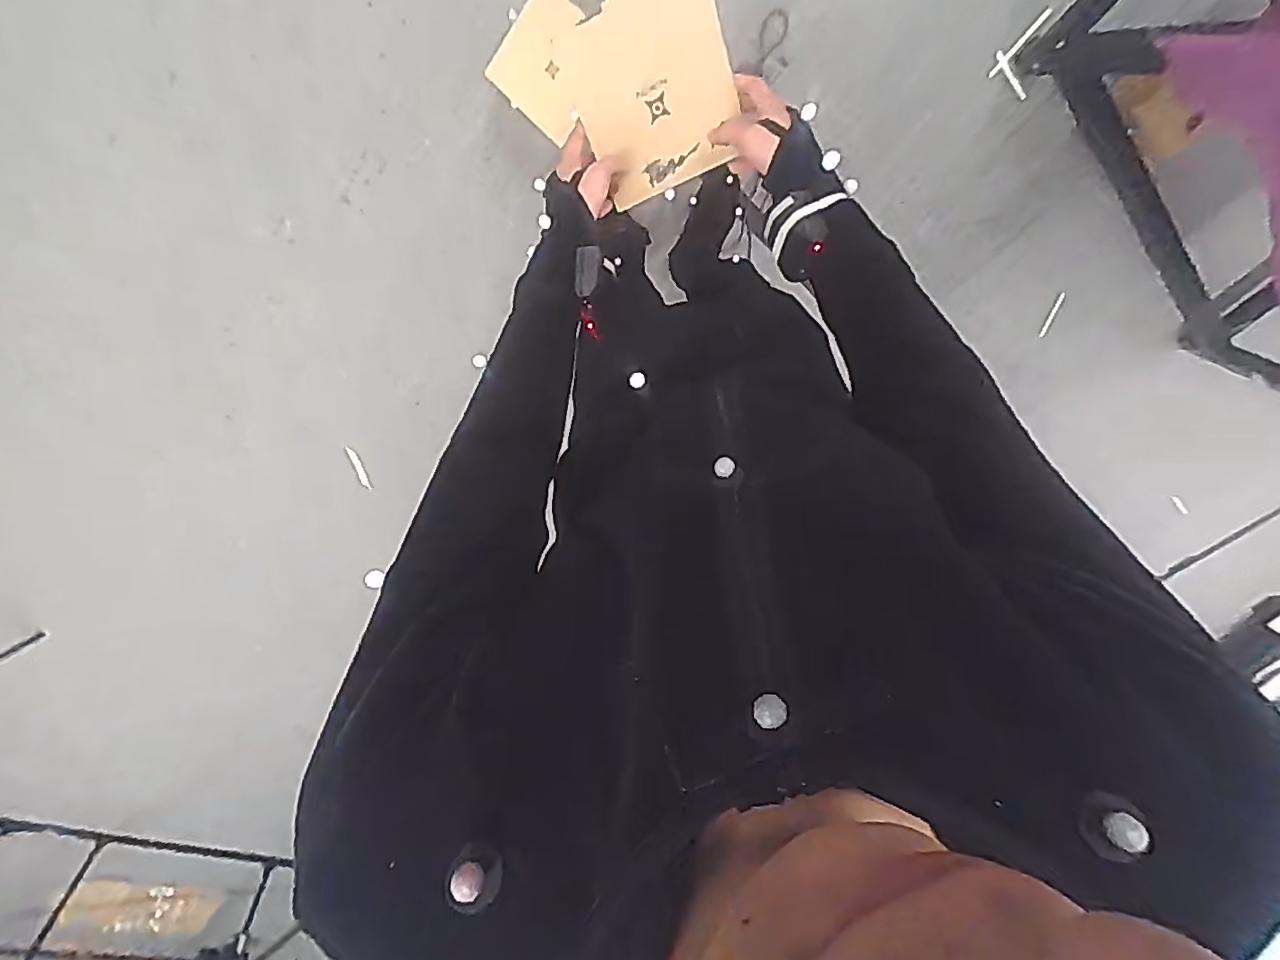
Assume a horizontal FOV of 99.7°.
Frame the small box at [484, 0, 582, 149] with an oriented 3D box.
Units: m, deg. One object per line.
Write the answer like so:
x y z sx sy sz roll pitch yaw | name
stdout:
-0.154 -0.742 0.977 0.168 0.176 0.179 34 116 -27 | small box

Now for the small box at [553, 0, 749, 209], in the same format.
0.012 -0.453 0.637 0.168 0.176 0.179 -20 126 11 | small box
